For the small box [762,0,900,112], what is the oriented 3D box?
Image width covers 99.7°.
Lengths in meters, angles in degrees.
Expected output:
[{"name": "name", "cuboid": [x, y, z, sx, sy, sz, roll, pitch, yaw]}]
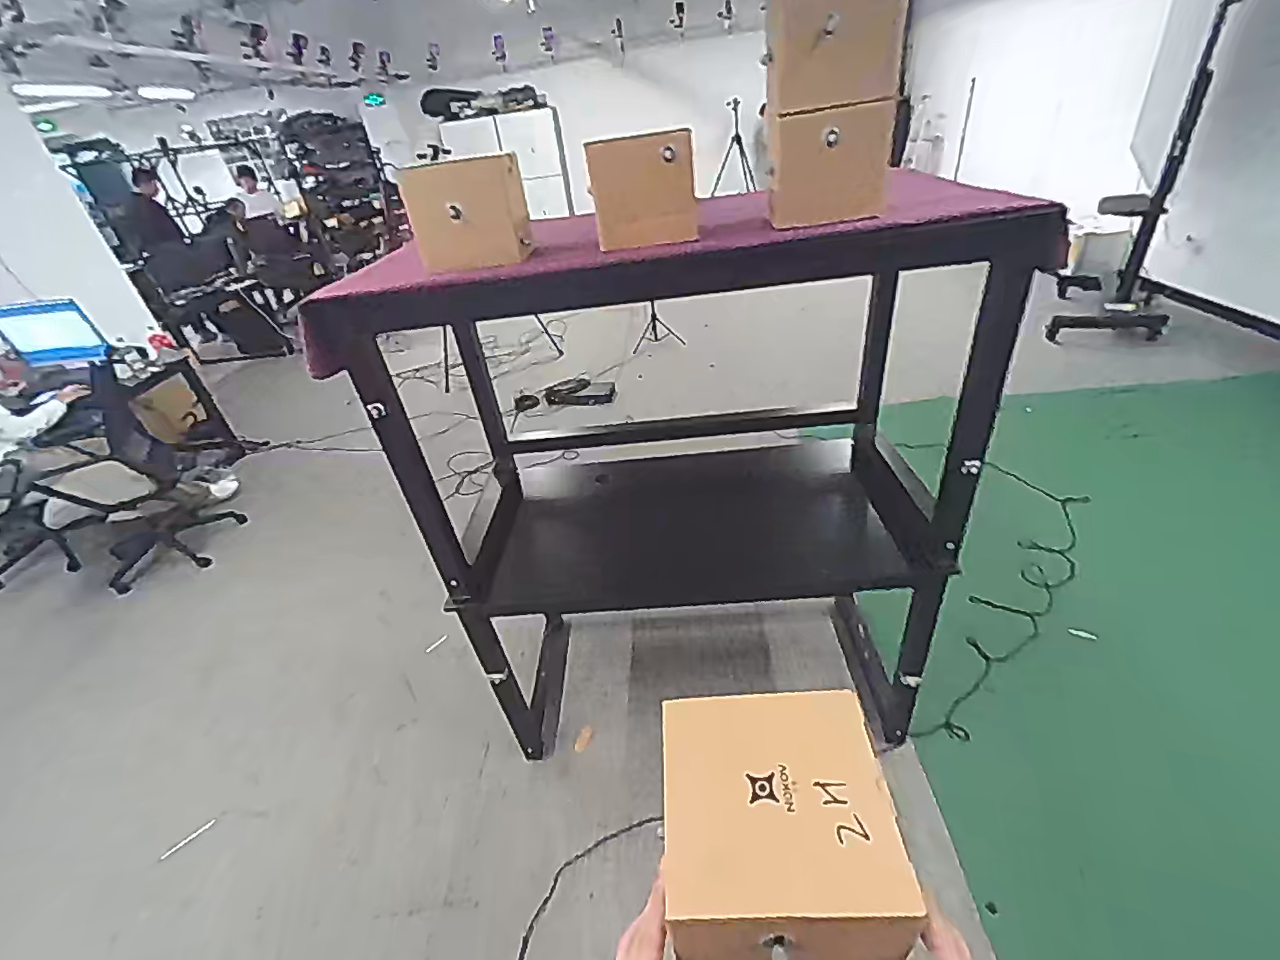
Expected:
[{"name": "small box", "cuboid": [0.287, -0.674, 0.829, 0.179, 0.176, 0.168, -5, 35, 9]}]

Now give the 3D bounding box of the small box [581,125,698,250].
[{"name": "small box", "cuboid": [0.004, -0.514, 0.955, 0.179, 0.176, 0.168, -5, 33, 4]}]

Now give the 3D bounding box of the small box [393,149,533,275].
[{"name": "small box", "cuboid": [-0.303, -0.483, 0.973, 0.179, 0.176, 0.168, -7, 33, 4]}]

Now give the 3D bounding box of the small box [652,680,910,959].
[{"name": "small box", "cuboid": [0.109, 0.299, 0.475, 0.179, 0.176, 0.168, -5, 37, 6]}]

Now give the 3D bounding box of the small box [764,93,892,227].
[{"name": "small box", "cuboid": [0.309, -0.539, 0.919, 0.179, 0.176, 0.168, -3, 34, 9]}]
